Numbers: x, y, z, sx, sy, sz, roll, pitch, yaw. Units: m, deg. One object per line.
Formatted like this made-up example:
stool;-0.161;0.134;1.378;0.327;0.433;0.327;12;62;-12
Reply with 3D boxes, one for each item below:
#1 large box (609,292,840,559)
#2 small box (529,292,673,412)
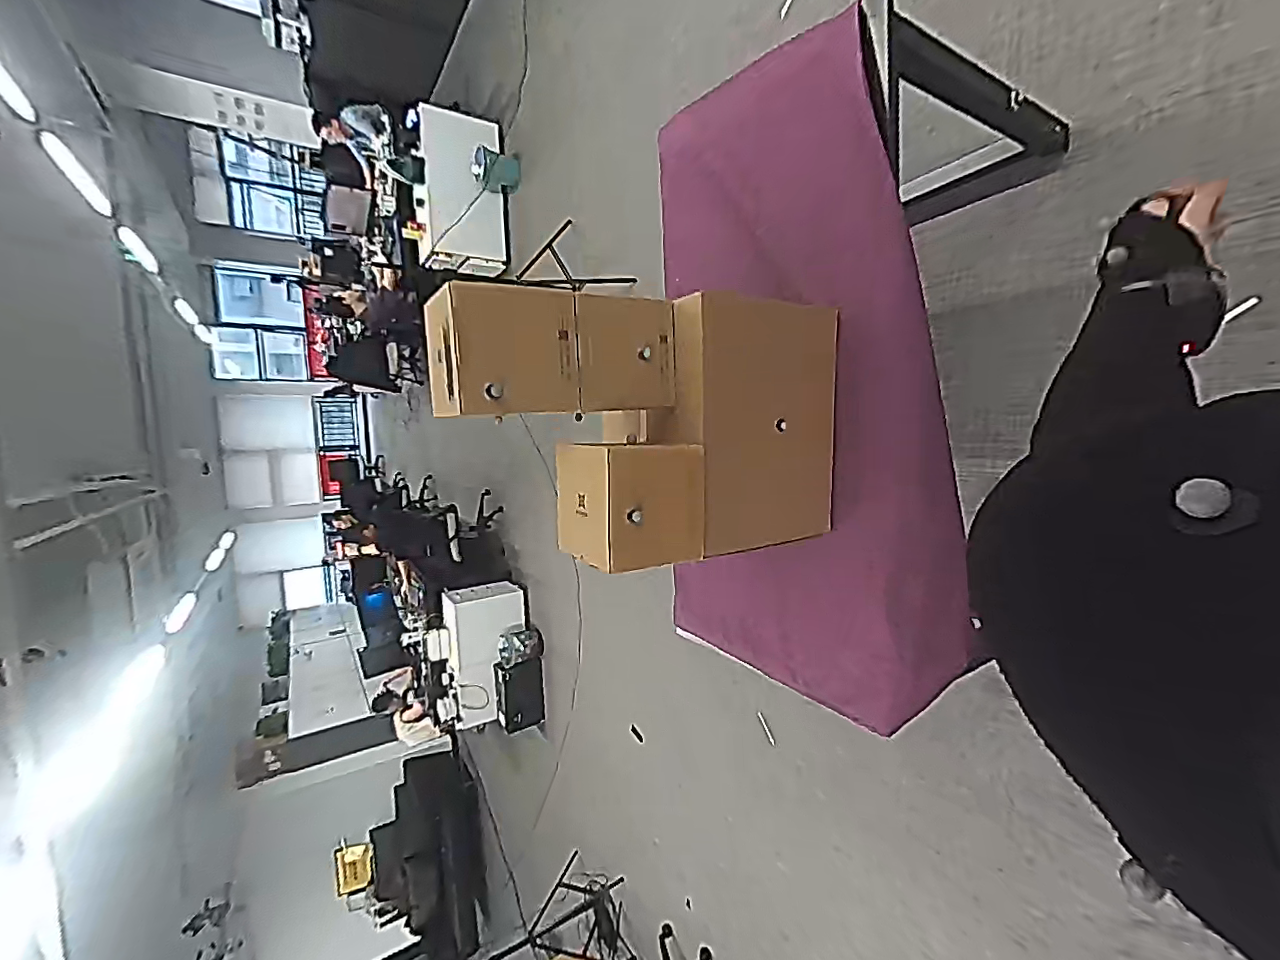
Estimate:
large box;0.147;-0.102;1.004;0.320;0.320;0.408;9;104;59
small box;-0.064;-0.193;0.861;0.179;0.176;0.168;9;104;58
